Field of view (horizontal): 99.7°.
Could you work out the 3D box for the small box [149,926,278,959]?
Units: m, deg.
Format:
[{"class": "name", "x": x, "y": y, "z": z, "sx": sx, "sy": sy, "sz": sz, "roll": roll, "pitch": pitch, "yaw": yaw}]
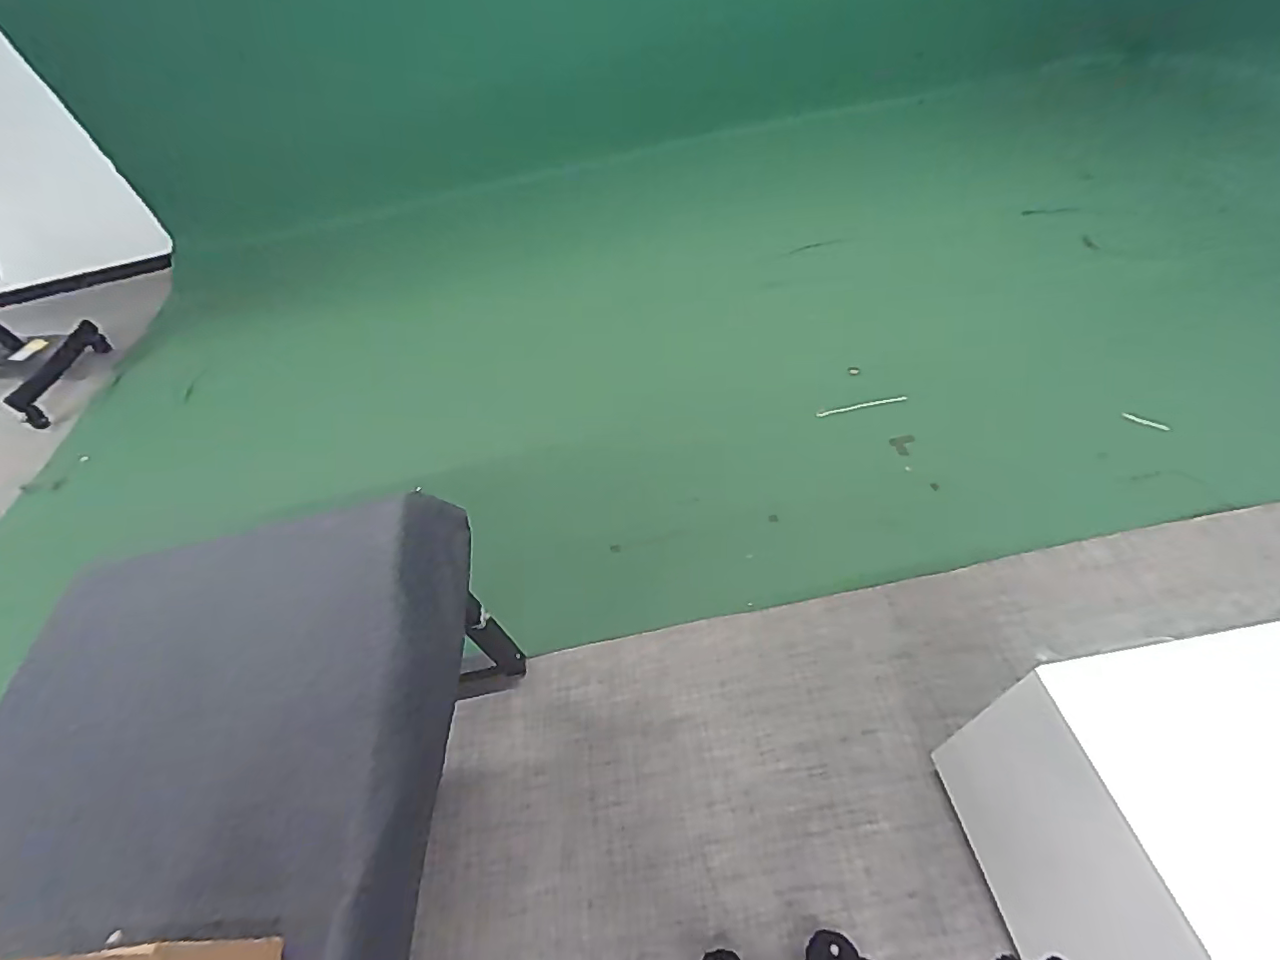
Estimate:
[{"class": "small box", "x": -0.466, "y": 0.518, "z": 0.476, "sx": 0.168, "sy": 0.176, "sz": 0.179, "roll": -11, "pitch": 51, "yaw": 4}]
